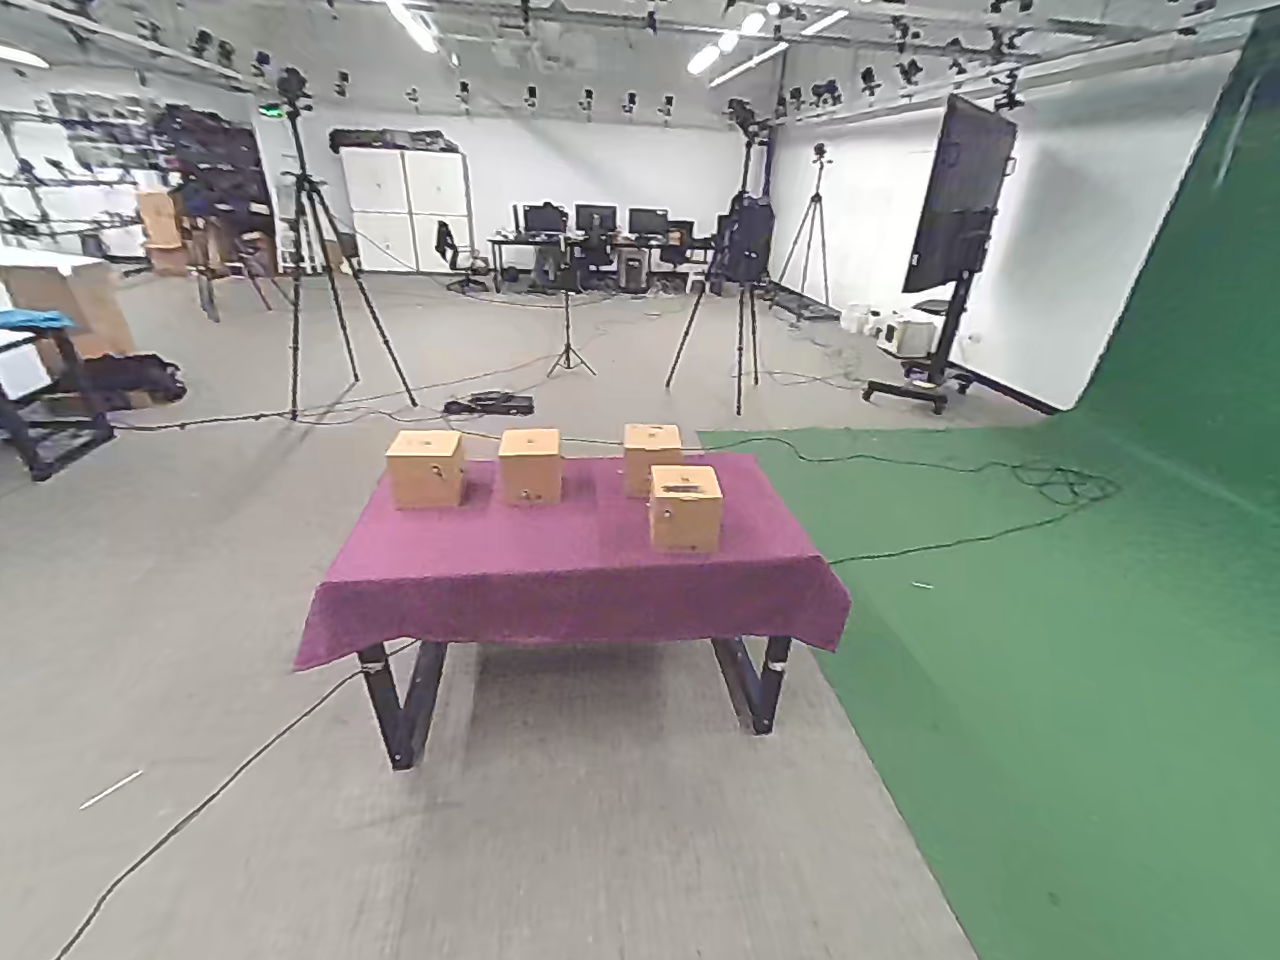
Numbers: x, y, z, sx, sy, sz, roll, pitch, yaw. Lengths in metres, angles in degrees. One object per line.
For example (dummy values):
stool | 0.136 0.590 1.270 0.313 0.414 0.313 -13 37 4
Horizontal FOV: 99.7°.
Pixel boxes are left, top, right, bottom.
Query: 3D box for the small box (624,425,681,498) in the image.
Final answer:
small box | 0.037 -0.057 1.661 0.168 0.176 0.179 2 29 -1

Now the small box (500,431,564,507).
small box | -0.314 -0.034 1.605 0.168 0.176 0.179 -2 29 -6

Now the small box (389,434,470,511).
small box | -0.599 -0.022 1.563 0.179 0.176 0.168 -1 29 -6
